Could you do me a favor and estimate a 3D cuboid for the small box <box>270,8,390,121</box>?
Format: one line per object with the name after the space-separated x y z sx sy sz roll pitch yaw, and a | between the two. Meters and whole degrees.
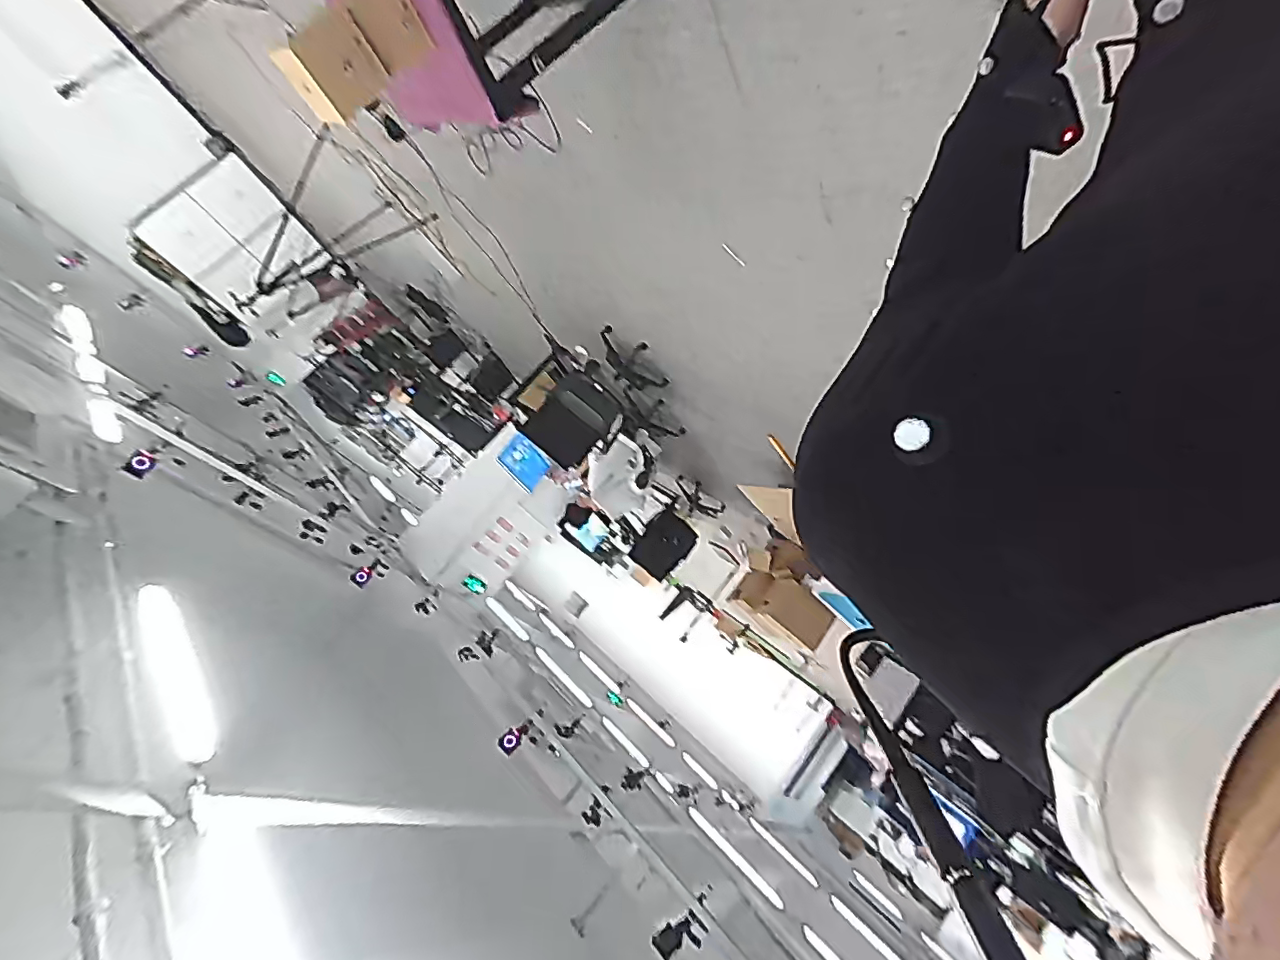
-0.752 -1.018 1.328 0.179 0.176 0.168 31 164 37 | small box
